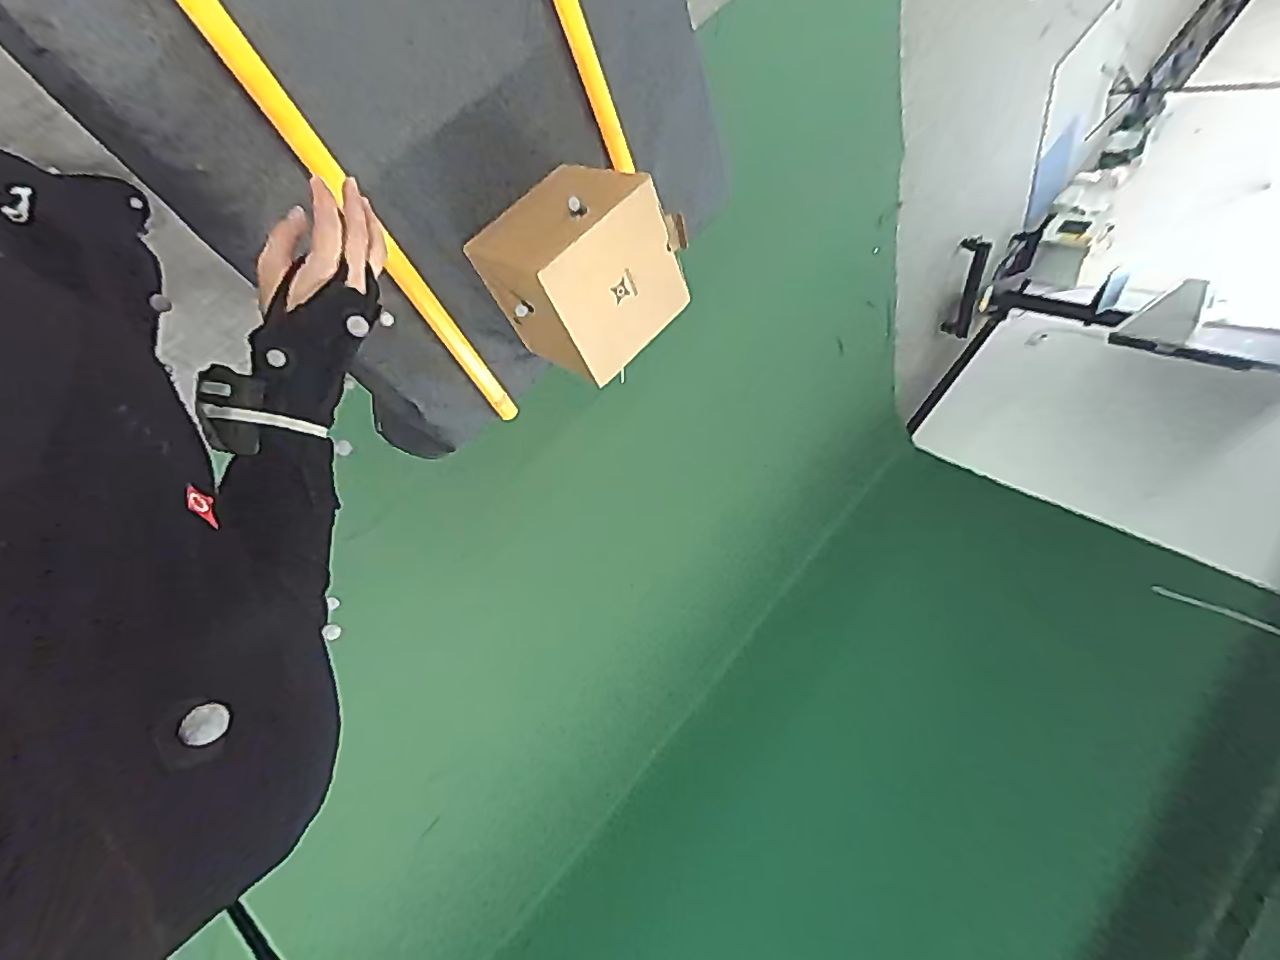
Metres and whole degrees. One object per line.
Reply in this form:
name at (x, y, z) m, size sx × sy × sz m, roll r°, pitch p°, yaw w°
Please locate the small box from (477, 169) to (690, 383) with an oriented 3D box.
small box at (-0.073, -0.254, 0.664) m, size 0.179 × 0.176 × 0.168 m, roll -47°, pitch 140°, yaw -14°
